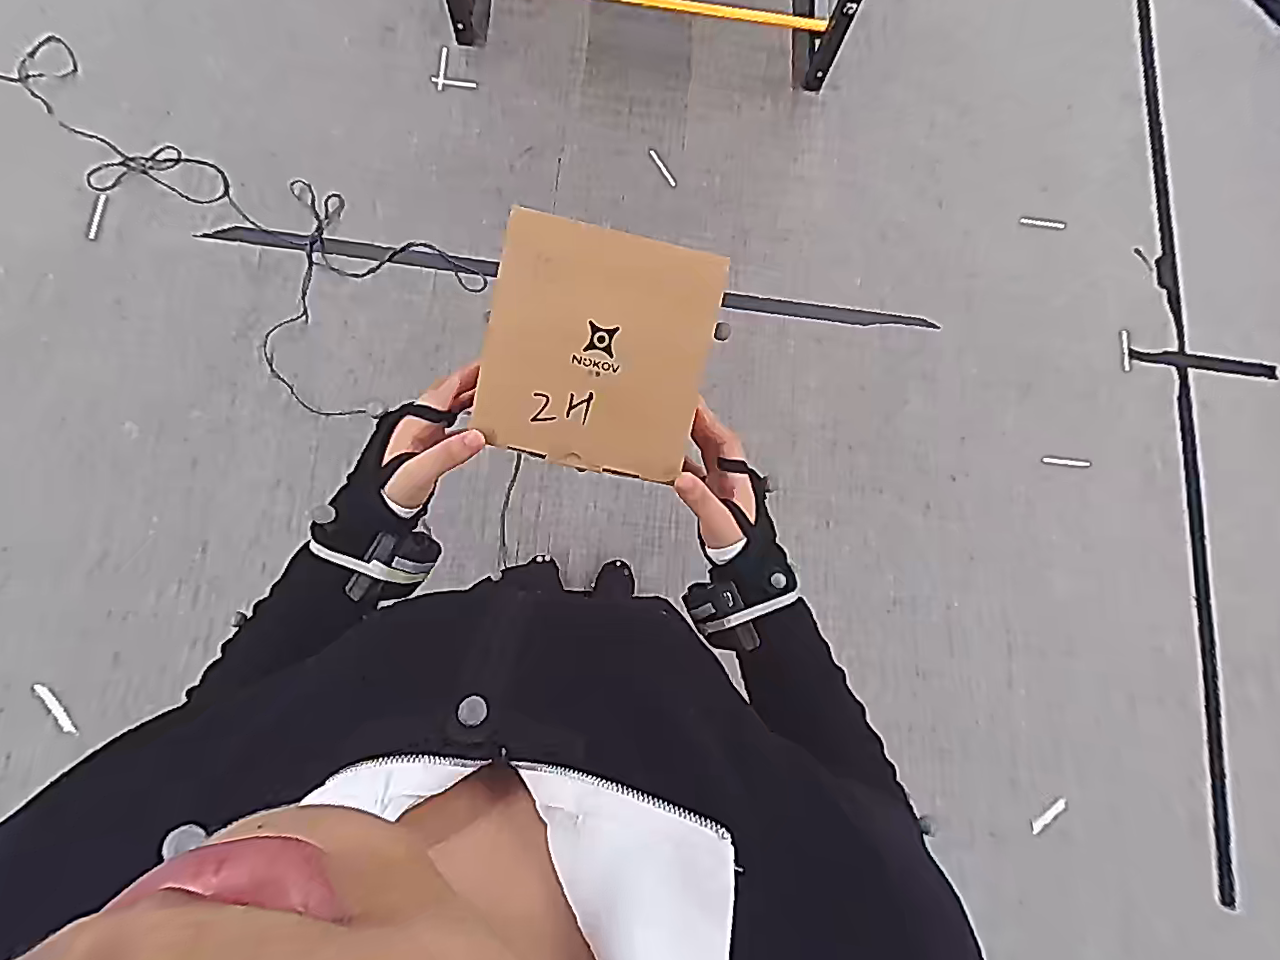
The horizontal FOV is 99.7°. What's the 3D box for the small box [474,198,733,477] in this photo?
[{"bbox_3d":[-0.030,-0.112,0.483,0.168,0.176,0.179,13,96,-2],"label":"small box"}]
